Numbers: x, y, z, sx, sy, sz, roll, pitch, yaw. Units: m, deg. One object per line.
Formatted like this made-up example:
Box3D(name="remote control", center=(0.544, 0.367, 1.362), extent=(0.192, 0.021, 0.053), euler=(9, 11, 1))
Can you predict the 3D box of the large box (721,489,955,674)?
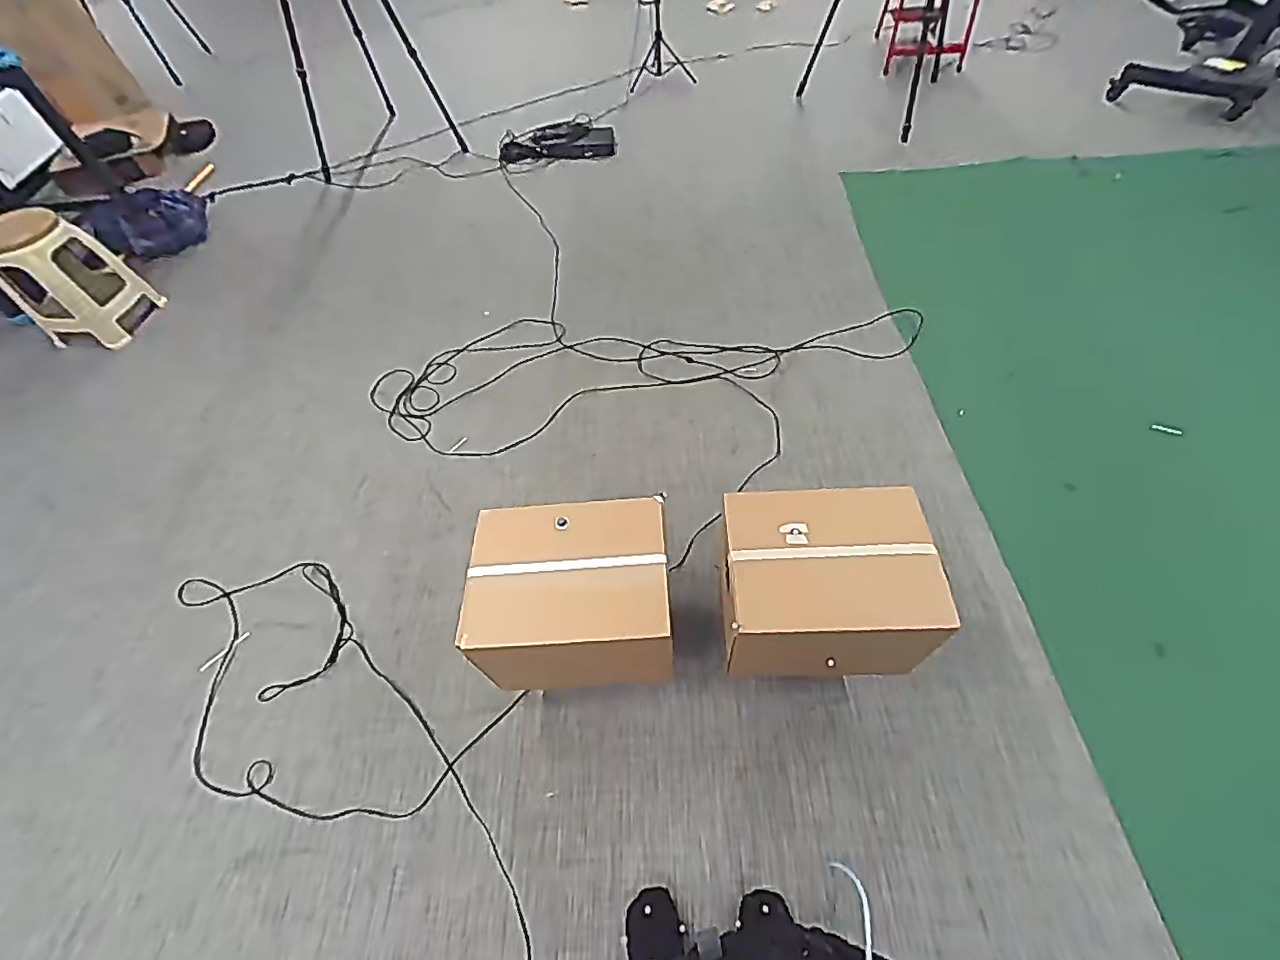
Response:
Box3D(name="large box", center=(0.399, 0.239, 1.214), extent=(0.408, 0.320, 0.320), euler=(-2, 55, 4))
